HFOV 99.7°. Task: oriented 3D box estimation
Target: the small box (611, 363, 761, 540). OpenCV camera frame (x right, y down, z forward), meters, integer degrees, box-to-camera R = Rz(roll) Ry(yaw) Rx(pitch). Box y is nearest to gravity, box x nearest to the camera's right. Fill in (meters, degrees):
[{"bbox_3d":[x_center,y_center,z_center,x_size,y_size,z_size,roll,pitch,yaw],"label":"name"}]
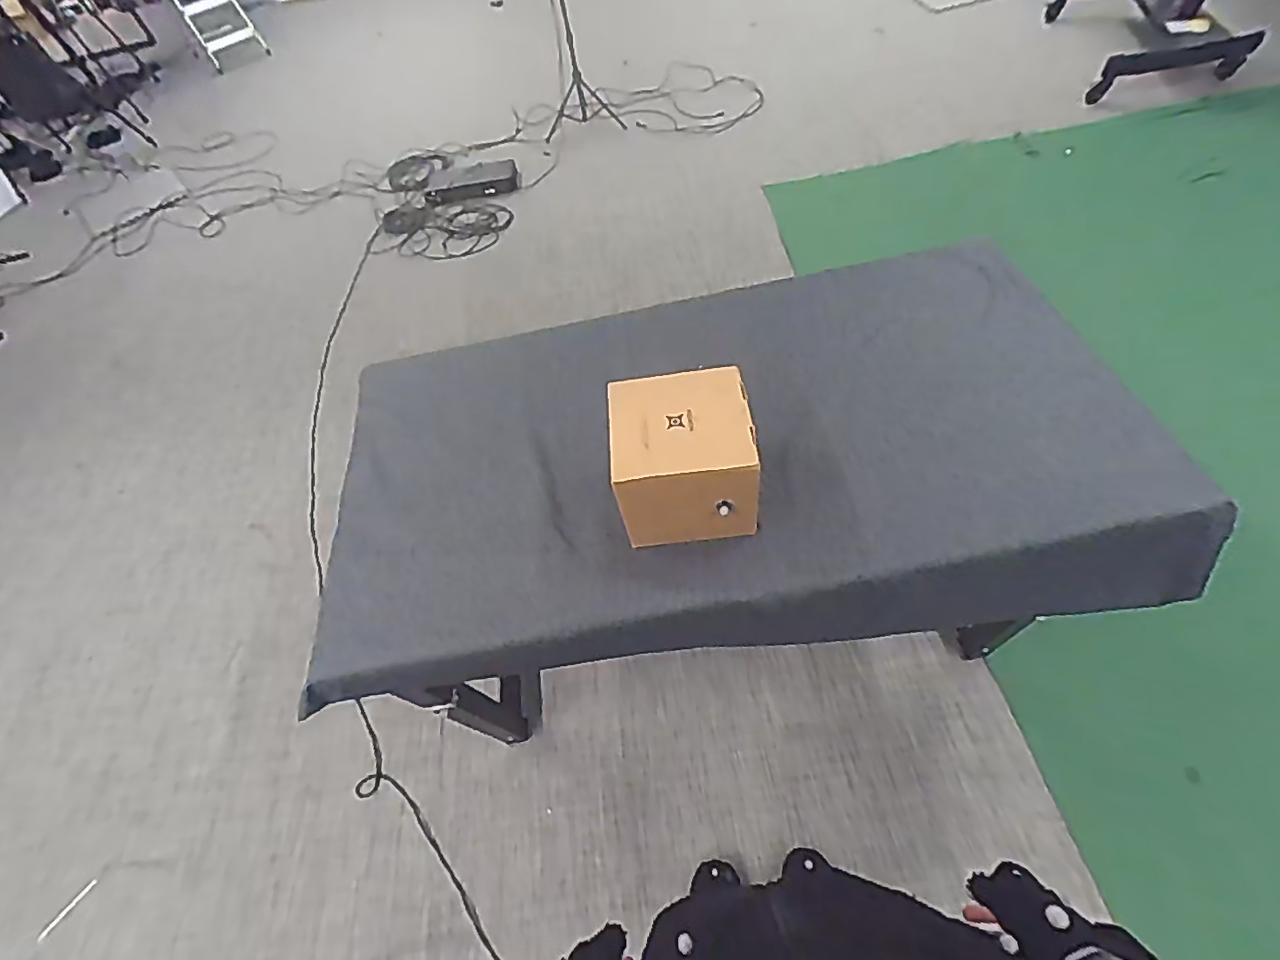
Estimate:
[{"bbox_3d":[0.062,-0.033,0.740,0.179,0.176,0.168,-8,55,5],"label":"small box"}]
